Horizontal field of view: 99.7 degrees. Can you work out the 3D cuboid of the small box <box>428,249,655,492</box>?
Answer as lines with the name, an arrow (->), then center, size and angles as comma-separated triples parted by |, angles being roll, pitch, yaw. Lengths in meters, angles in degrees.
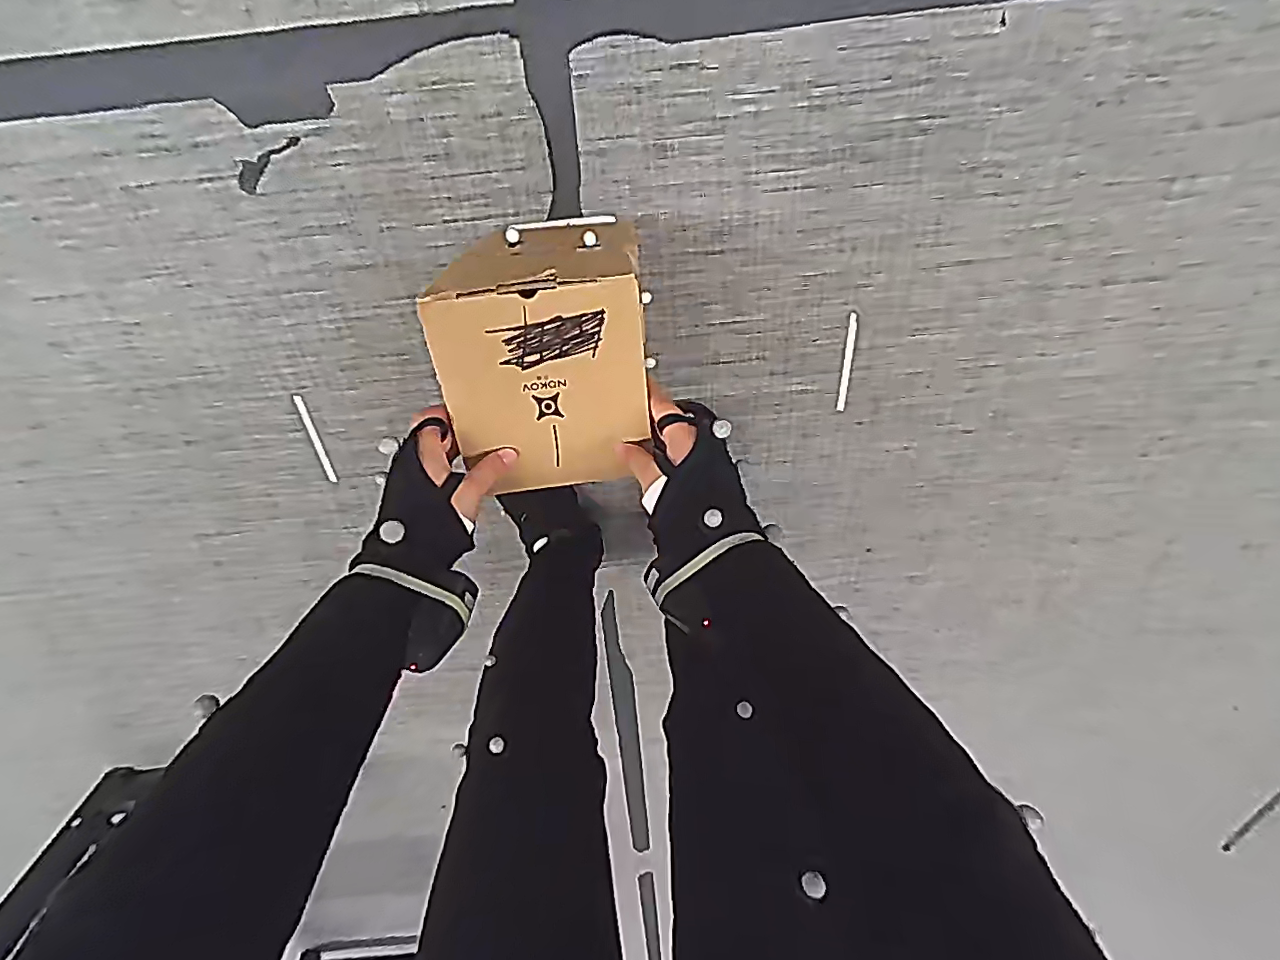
small box -> -0.080, -0.113, 0.512 | 0.168, 0.176, 0.179 | -6, 124, -2

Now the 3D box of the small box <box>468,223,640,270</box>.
small box -> -0.086, -0.206, 0.652 | 0.179, 0.176, 0.168 | -4, 124, 0
